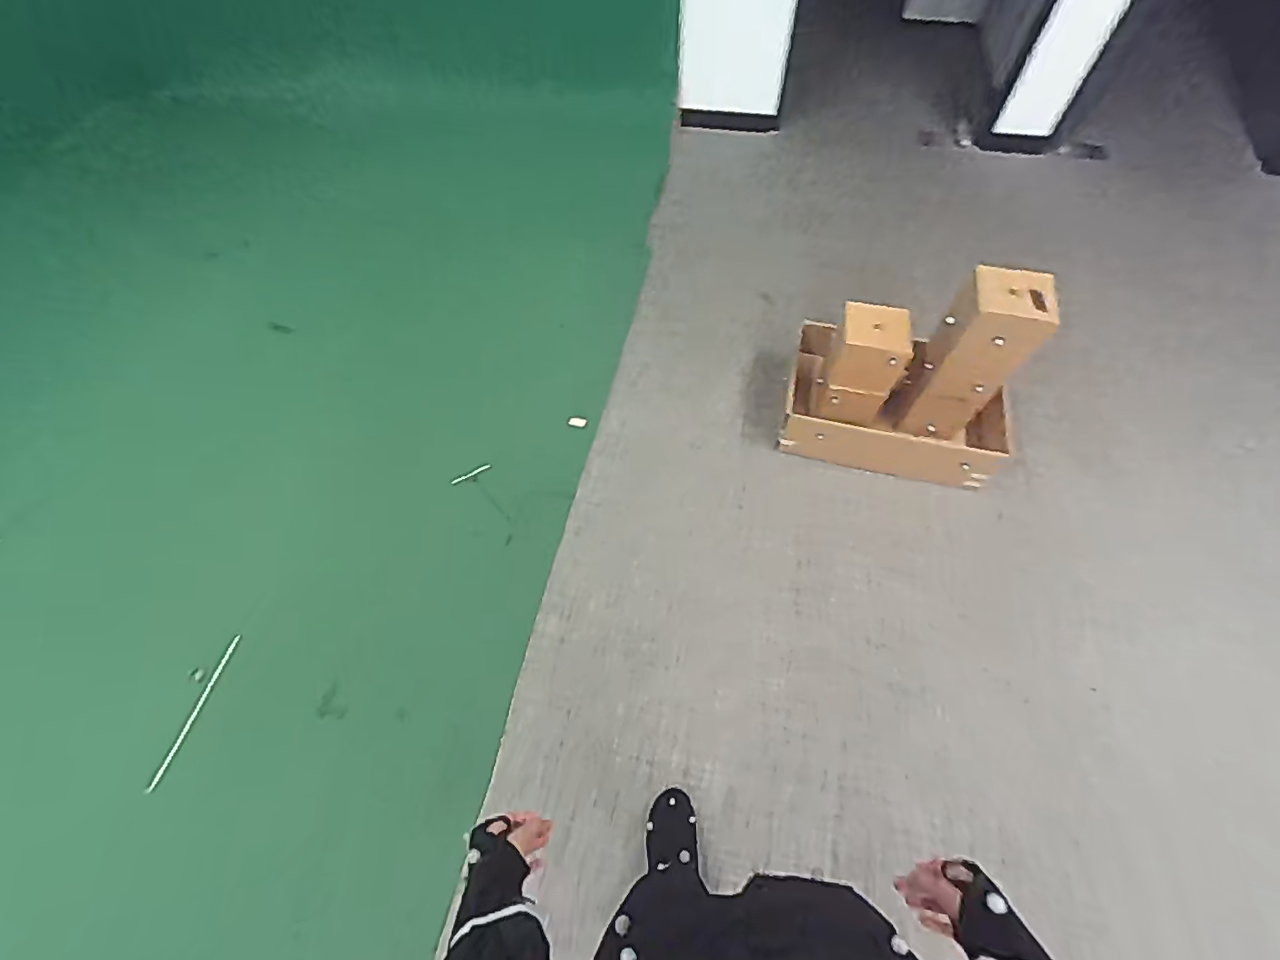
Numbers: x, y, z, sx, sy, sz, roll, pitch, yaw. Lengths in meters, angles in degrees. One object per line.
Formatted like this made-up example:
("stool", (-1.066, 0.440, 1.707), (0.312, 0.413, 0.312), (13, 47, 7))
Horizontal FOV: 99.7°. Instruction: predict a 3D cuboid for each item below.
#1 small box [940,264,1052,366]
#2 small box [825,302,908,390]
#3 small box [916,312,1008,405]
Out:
("small box", (0.881, -0.408, 1.353), (0.179, 0.176, 0.168), (11, 62, 9))
("small box", (0.635, -0.376, 1.533), (0.179, 0.176, 0.168), (10, 61, 6))
("small box", (0.884, -0.332, 1.498), (0.168, 0.176, 0.179), (11, 61, 9))
